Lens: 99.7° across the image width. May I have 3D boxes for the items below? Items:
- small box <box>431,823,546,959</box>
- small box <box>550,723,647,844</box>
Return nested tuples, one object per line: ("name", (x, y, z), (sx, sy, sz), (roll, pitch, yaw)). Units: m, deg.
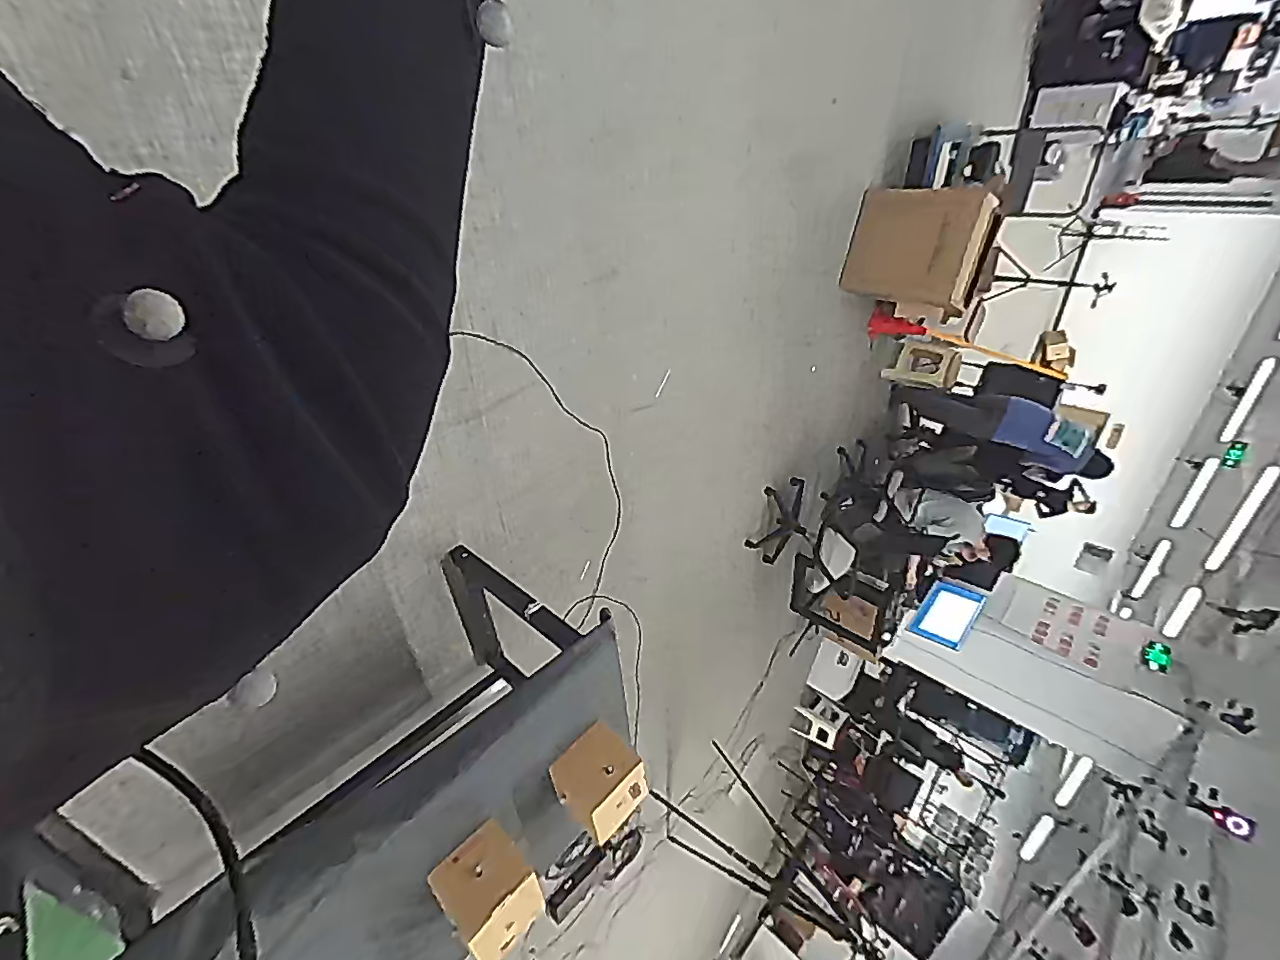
("small box", (-0.332, 0.903, 1.188), (0.168, 0.176, 0.179), (-31, 131, -37))
("small box", (-0.105, 0.768, 1.389), (0.179, 0.176, 0.168), (-33, 132, -34))
